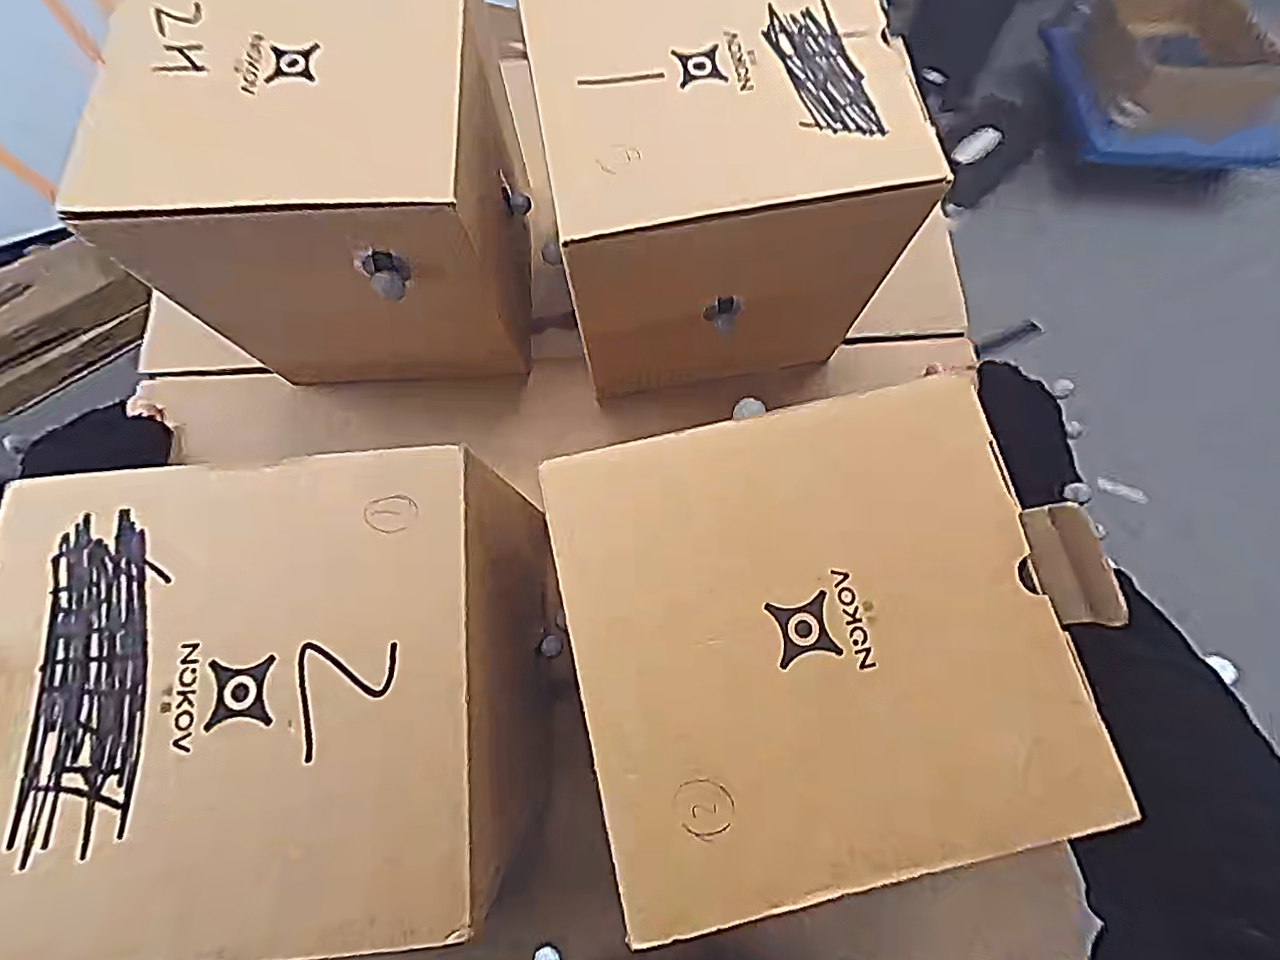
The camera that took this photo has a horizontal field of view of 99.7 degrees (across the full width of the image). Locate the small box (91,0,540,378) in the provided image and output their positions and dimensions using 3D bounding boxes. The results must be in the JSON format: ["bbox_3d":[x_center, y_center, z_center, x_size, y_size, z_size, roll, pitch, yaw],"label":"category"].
[{"bbox_3d":[-0.164,-0.174,0.344,0.179,0.176,0.168,-1,75,0],"label":"small box"}]
